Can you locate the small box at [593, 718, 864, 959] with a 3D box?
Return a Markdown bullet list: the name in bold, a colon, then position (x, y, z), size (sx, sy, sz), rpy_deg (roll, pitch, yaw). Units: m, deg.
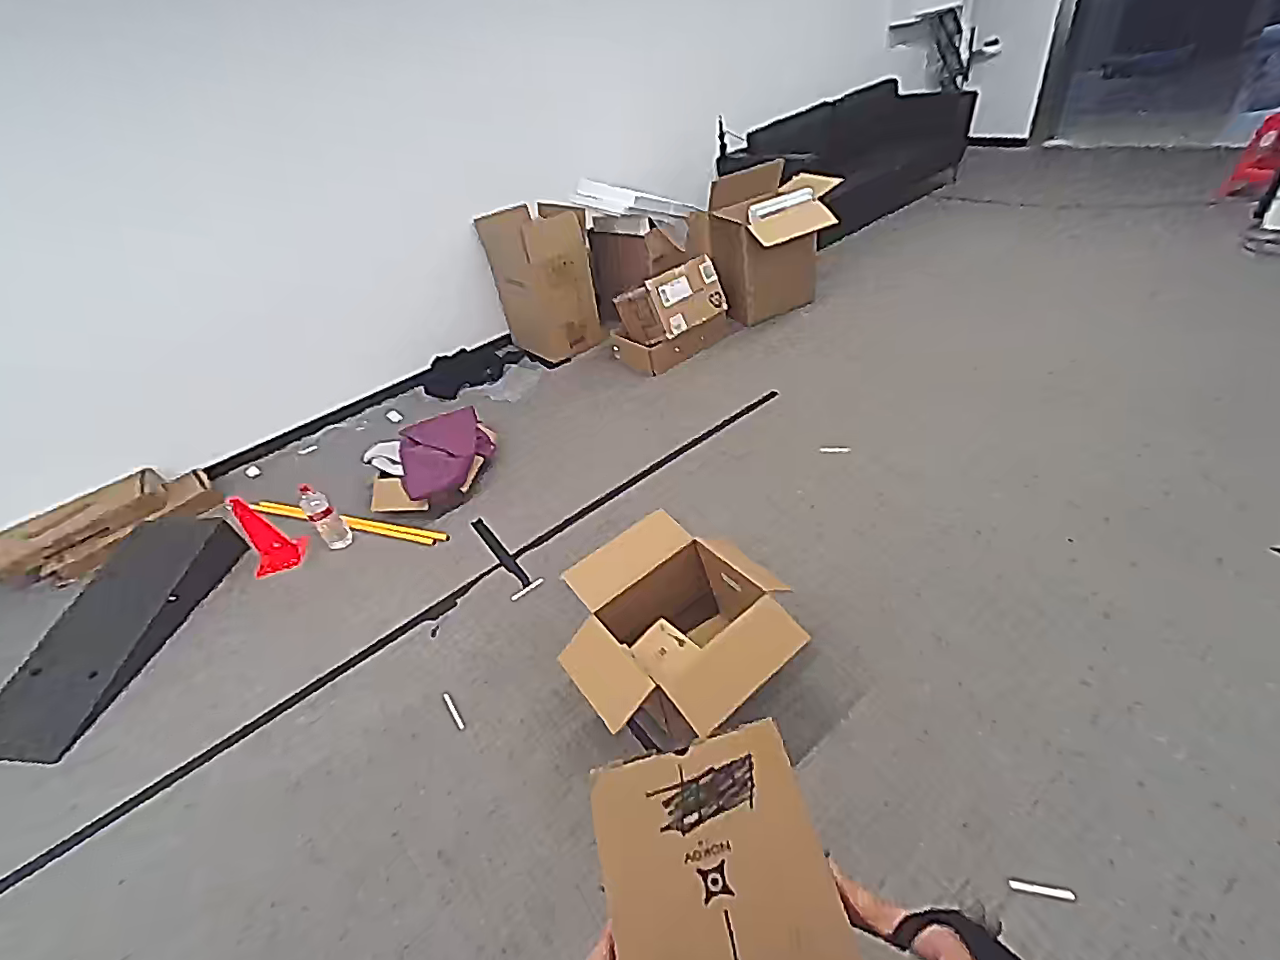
- **small box**: position (0.066, 0.335, 0.465), size (0.168, 0.176, 0.179), rpy_deg (-15, 52, -2)
